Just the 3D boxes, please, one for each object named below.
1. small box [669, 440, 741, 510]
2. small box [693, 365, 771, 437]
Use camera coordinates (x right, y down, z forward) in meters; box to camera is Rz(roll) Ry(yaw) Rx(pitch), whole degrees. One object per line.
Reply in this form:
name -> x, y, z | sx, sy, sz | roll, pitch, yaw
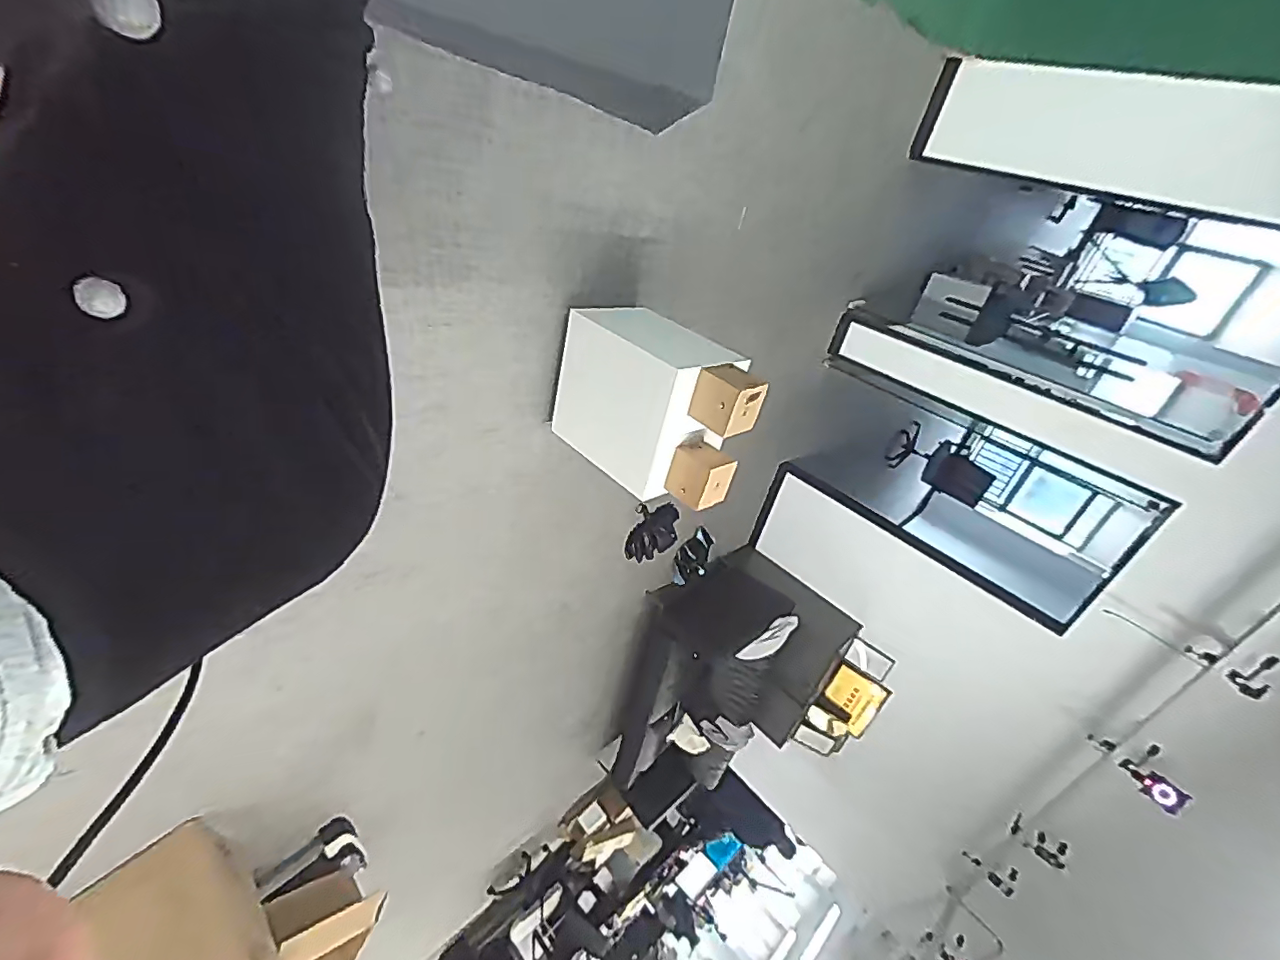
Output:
small box -> 0.227, -0.022, 1.937 | 0.168, 0.176, 0.179 | -17, 132, -44
small box -> 0.298, -0.270, 1.786 | 0.168, 0.176, 0.179 | -20, 137, -41
